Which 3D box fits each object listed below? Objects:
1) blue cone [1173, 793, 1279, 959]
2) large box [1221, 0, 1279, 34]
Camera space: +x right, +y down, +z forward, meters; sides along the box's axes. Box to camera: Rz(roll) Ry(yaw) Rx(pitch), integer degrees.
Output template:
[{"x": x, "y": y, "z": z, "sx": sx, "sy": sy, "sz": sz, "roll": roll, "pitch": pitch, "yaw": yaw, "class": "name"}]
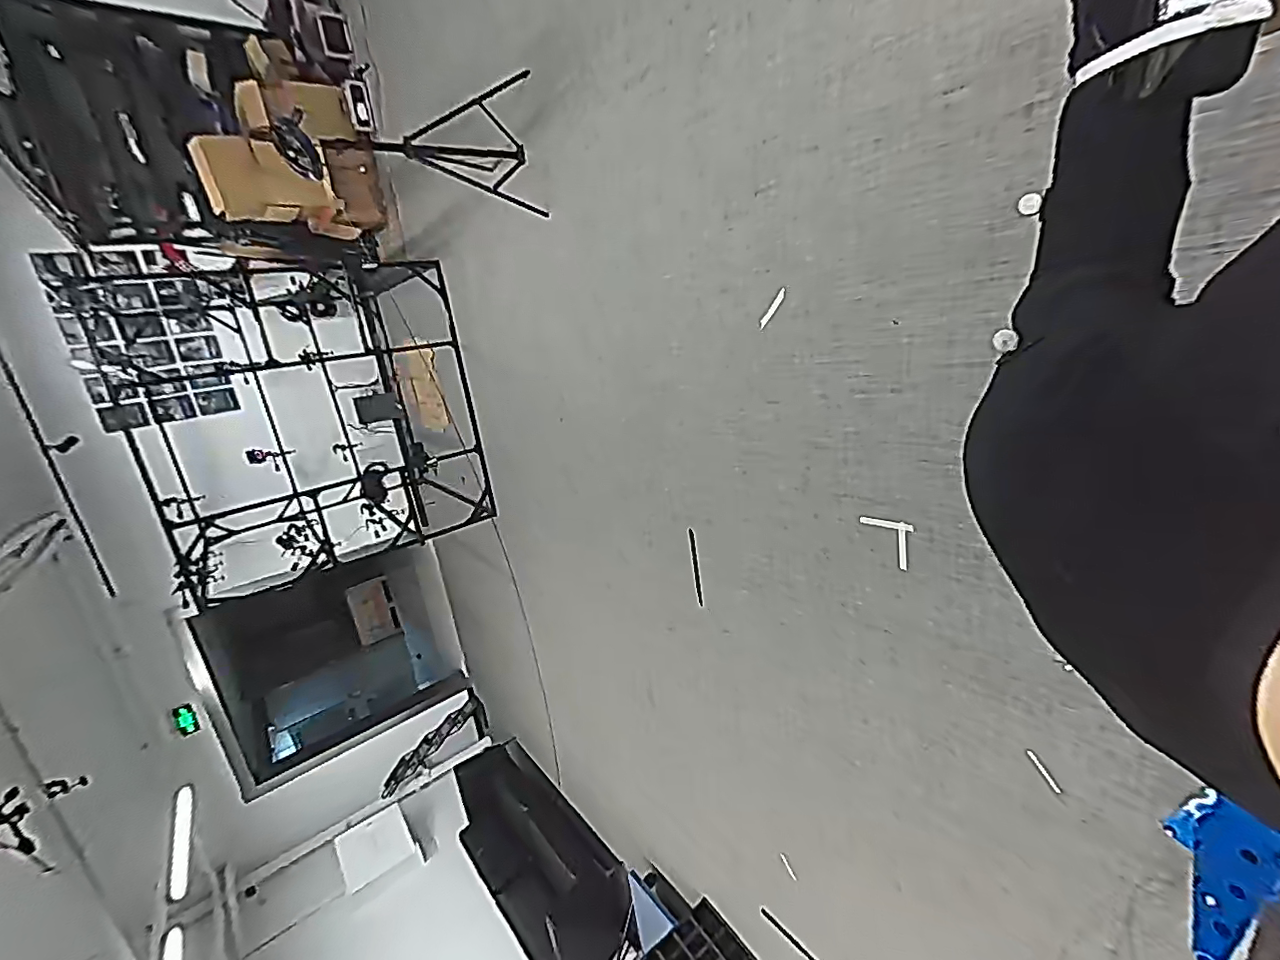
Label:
[{"x": 1.233, "y": 0.862, "z": 1.130, "sx": 0.193, "sy": 0.380, "sz": 0.192, "roll": 40, "pitch": 136, "yaw": 39, "class": "blue cone"}, {"x": 0.555, "y": -0.482, "z": 0.229, "sx": 0.408, "sy": 0.320, "sz": 0.320, "roll": 11, "pitch": 120, "yaw": 49, "class": "large box"}]
